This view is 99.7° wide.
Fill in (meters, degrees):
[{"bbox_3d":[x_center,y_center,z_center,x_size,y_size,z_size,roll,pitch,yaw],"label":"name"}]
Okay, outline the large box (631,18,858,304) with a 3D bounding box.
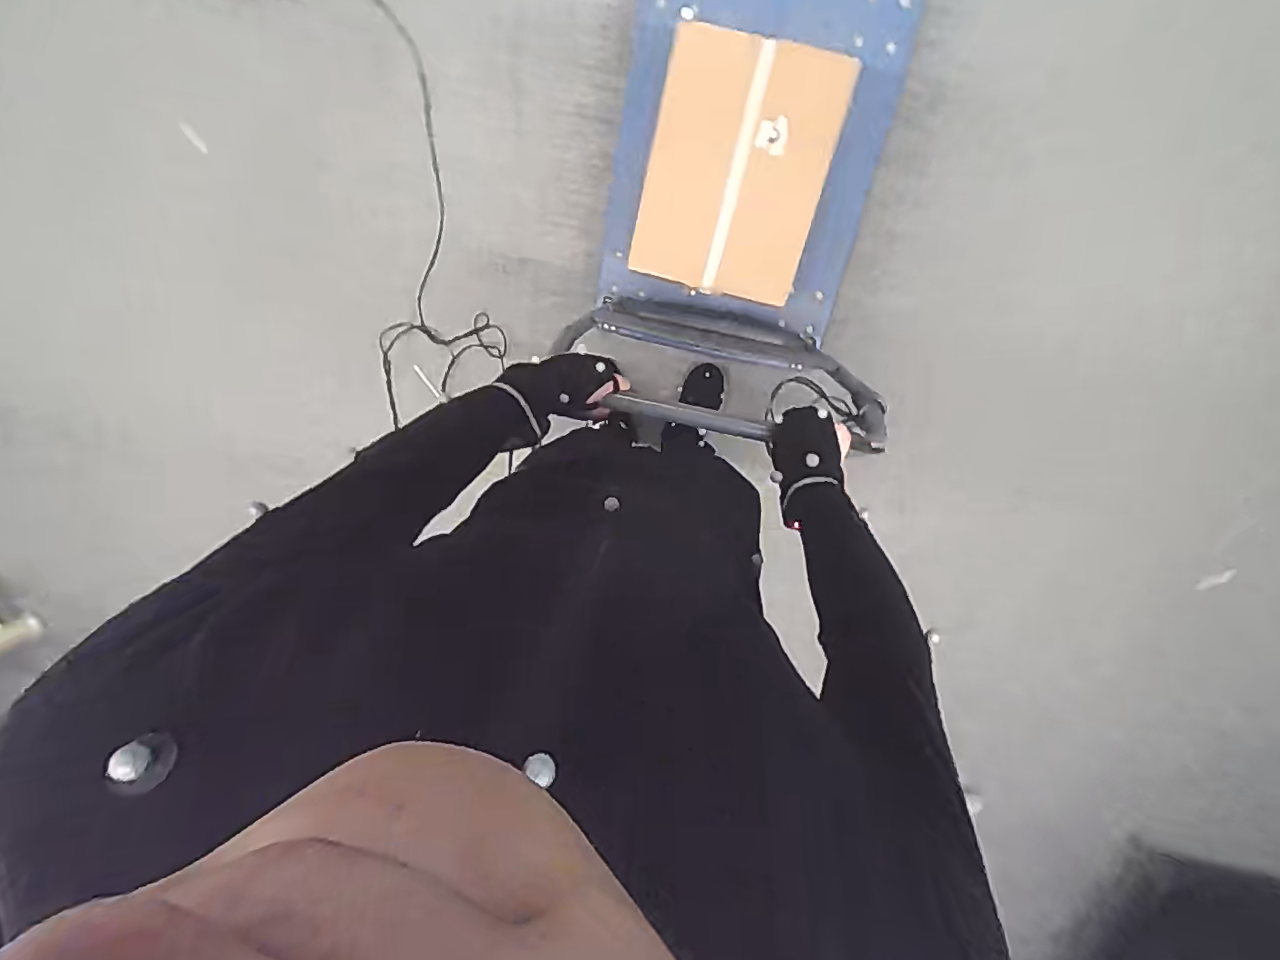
[{"bbox_3d":[0.185,-0.592,1.096,0.320,0.320,0.408,14,109,0],"label":"large box"}]
